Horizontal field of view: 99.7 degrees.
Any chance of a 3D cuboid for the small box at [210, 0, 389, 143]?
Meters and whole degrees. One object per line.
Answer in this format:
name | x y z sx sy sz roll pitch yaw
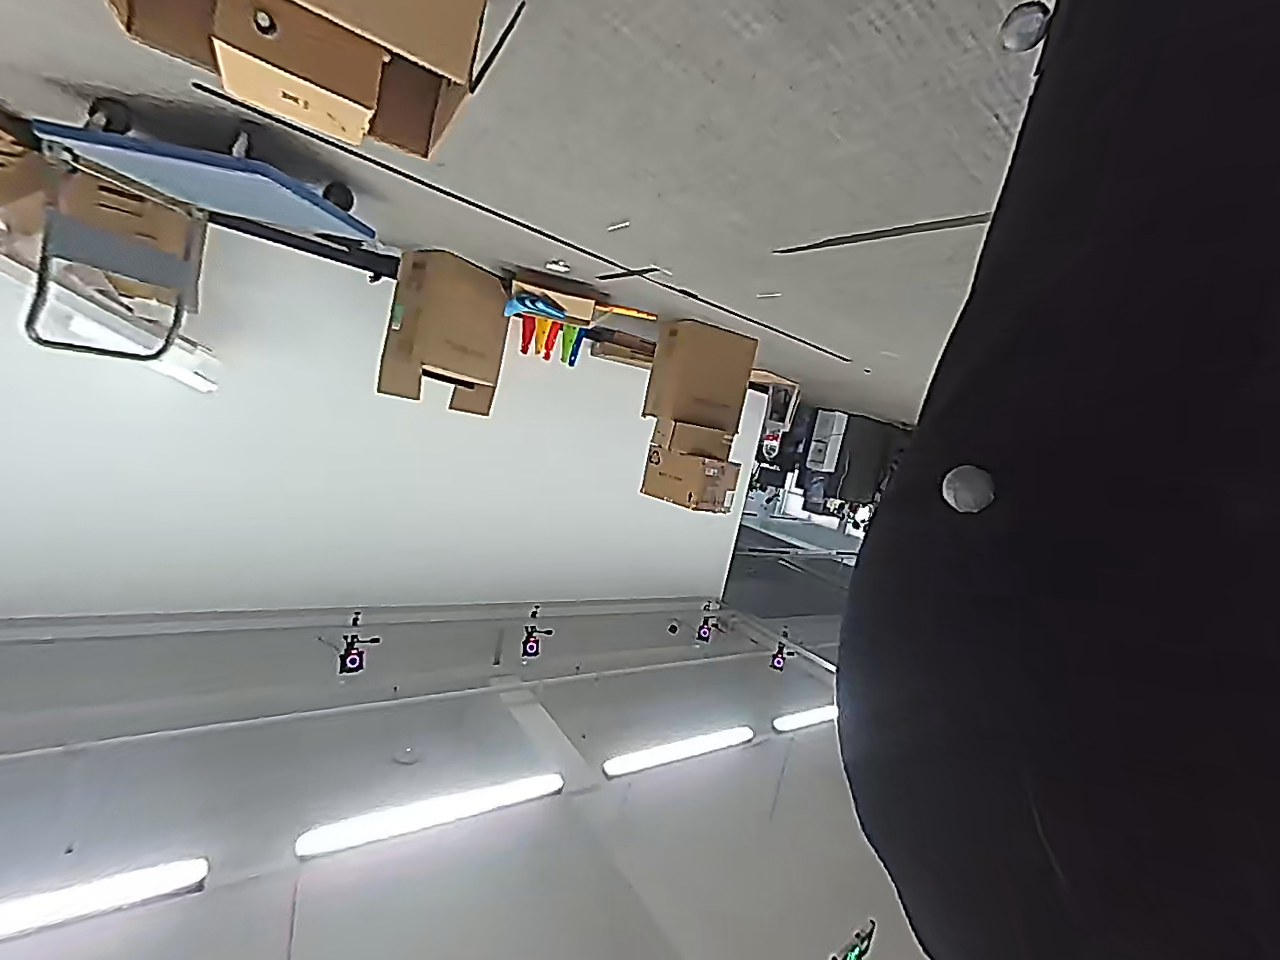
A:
small box | -0.456 -0.606 0.733 0.179 0.176 0.168 7 -172 -35
